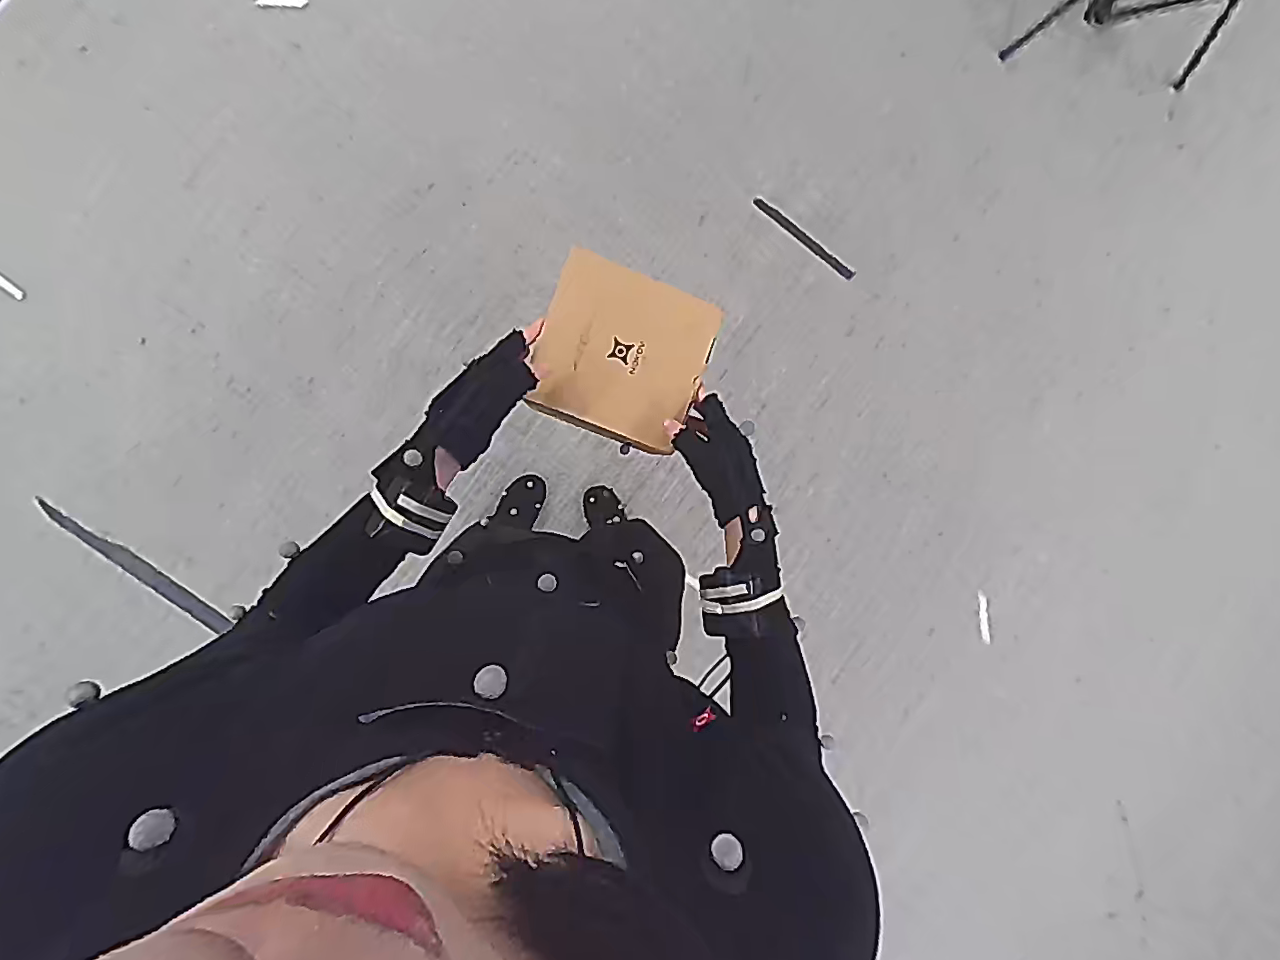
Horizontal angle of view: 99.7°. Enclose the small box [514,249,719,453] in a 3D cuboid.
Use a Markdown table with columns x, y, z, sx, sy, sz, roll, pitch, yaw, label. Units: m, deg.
| x | y | z | sx | sy | sz | roll | pitch | yaw | label |
| --- | --- | --- | --- | --- | --- | --- | --- | --- | --- |
| -0.033 | -0.138 | 0.643 | 0.179 | 0.176 | 0.168 | 19 | 90 | -8 | small box |
